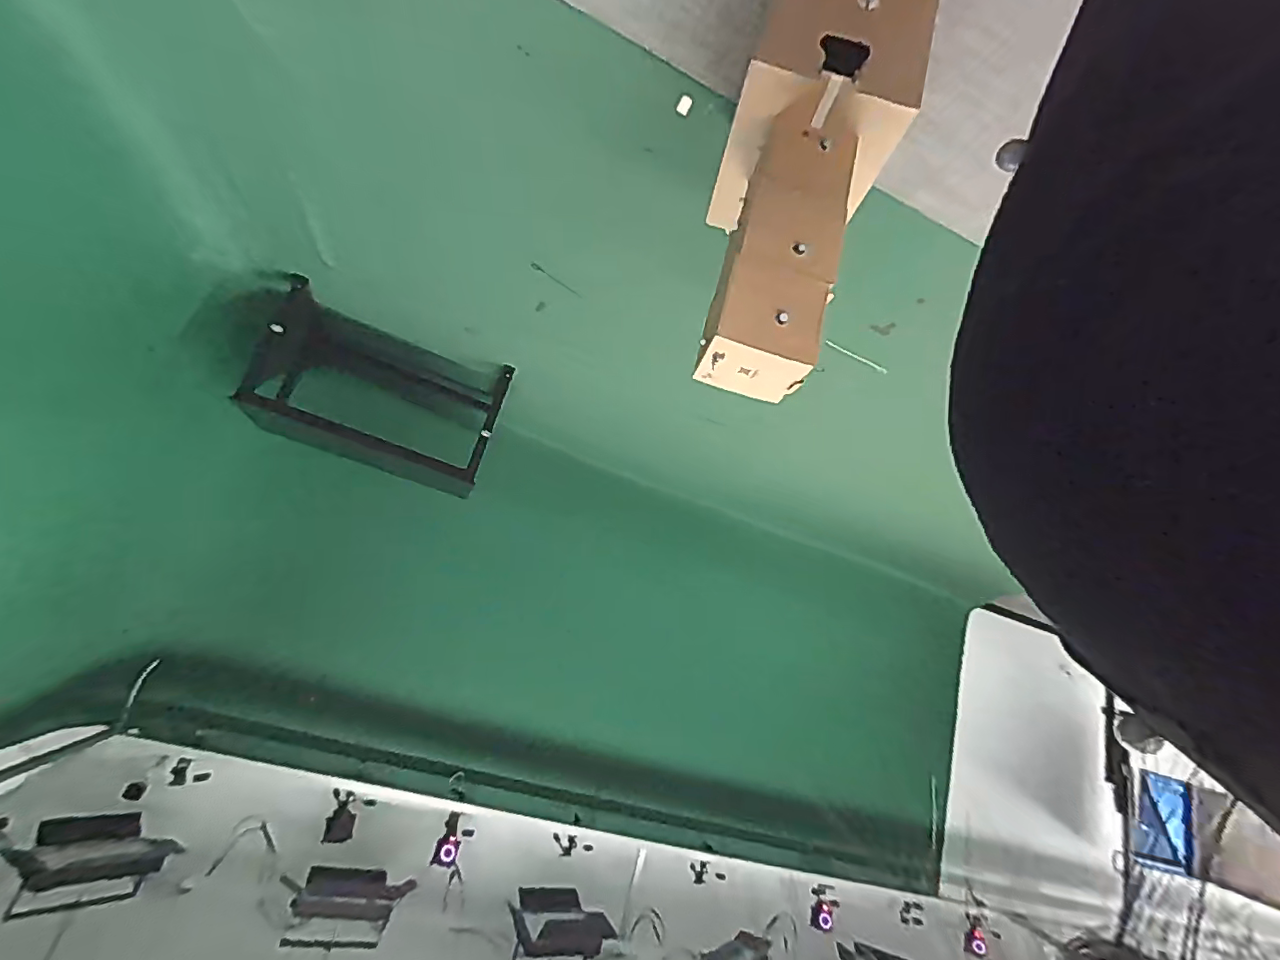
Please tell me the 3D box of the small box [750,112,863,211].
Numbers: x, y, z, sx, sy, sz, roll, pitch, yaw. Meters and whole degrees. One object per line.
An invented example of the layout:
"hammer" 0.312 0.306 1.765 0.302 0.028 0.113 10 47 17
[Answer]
"small box" 0.319 -0.571 1.070 0.168 0.176 0.179 16 164 -3

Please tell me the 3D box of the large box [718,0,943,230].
"large box" 0.385 -0.789 1.164 0.320 0.320 0.408 17 165 1

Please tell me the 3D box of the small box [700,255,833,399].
"small box" 0.226 -0.272 0.973 0.179 0.176 0.168 15 164 -4

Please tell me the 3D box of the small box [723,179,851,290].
"small box" 0.273 -0.424 1.015 0.179 0.176 0.168 17 164 -5
